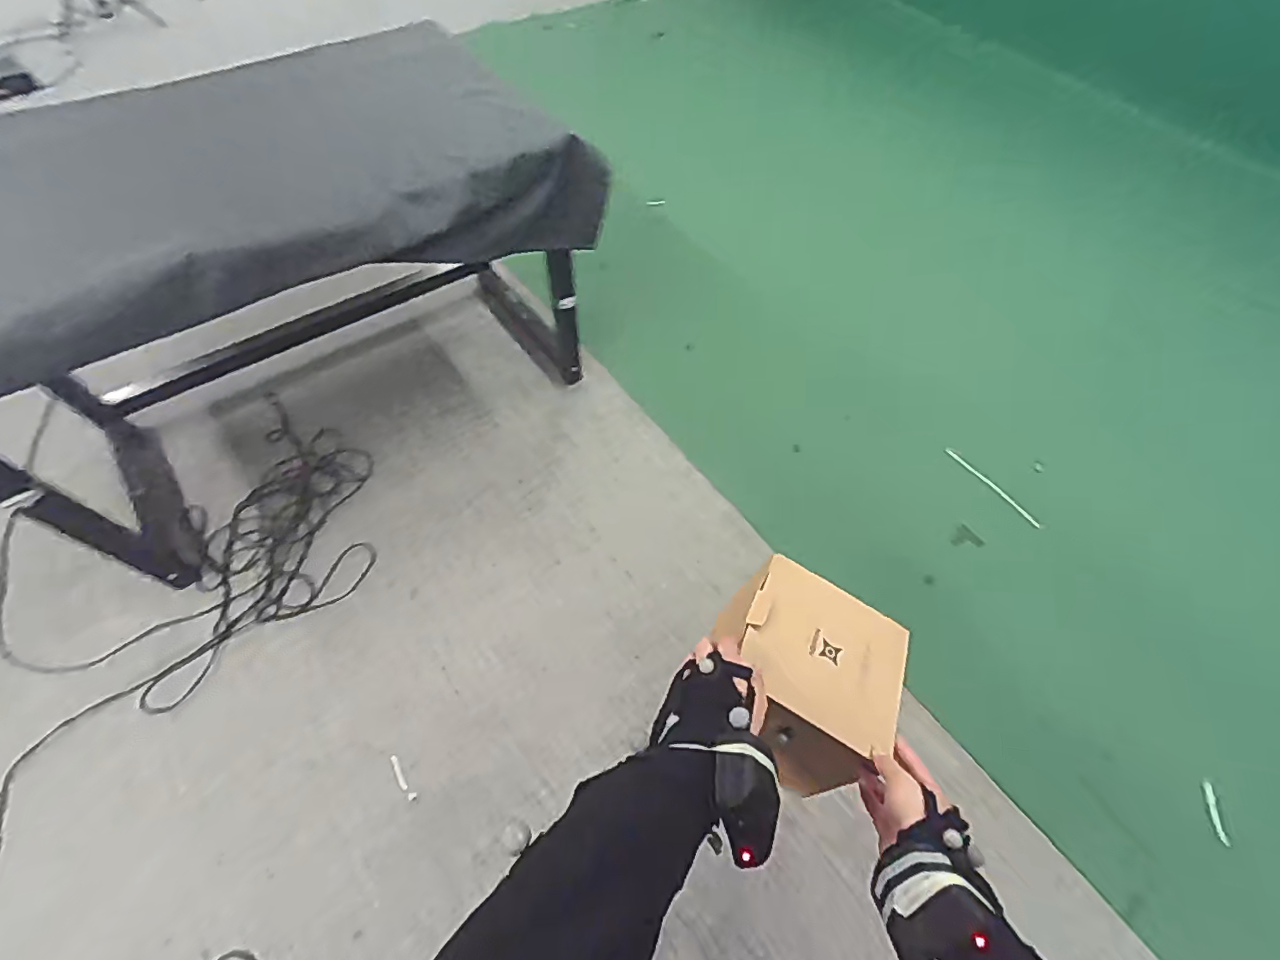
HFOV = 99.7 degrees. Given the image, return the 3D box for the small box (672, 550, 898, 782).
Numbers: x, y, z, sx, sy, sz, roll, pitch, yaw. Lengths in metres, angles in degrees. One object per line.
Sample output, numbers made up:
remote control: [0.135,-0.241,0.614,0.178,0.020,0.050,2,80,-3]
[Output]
small box: [0.160,0.219,0.623,0.179,0.176,0.168,31,50,4]
